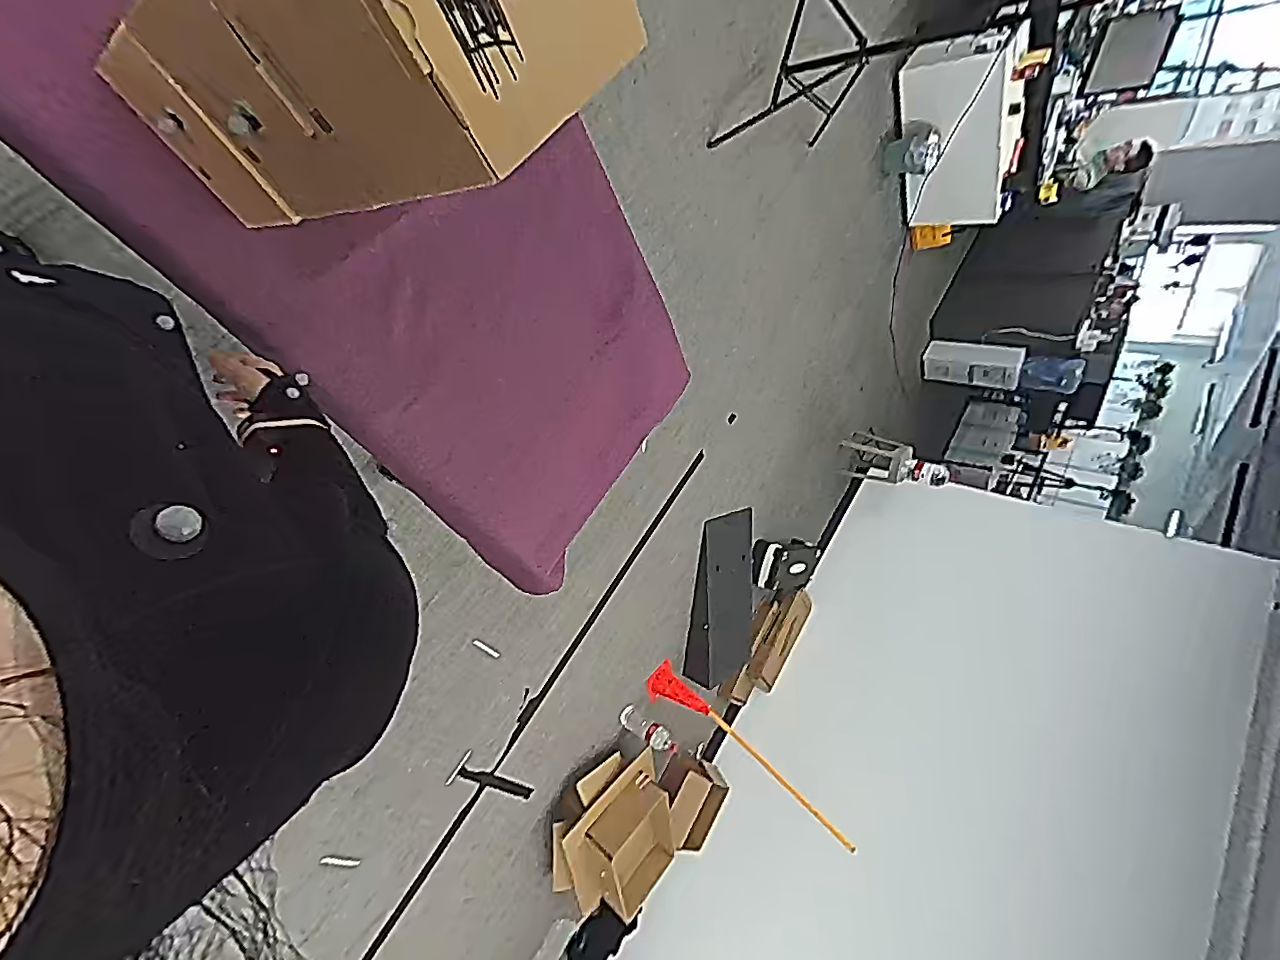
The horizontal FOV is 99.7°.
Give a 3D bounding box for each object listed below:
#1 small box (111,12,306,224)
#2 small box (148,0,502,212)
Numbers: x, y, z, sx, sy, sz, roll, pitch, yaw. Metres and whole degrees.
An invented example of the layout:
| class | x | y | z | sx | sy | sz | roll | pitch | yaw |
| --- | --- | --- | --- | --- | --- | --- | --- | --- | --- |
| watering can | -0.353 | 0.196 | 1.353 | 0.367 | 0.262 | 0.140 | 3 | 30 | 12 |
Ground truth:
| class | x | y | z | sx | sy | sz | roll | pitch | yaw |
| --- | --- | --- | --- | --- | --- | --- | --- | --- | --- |
| small box | -0.387 | -0.386 | 0.557 | 0.179 | 0.176 | 0.168 | -55 | 139 | -21 |
| small box | -0.262 | -0.351 | 0.457 | 0.179 | 0.176 | 0.168 | -56 | 140 | -19 |
